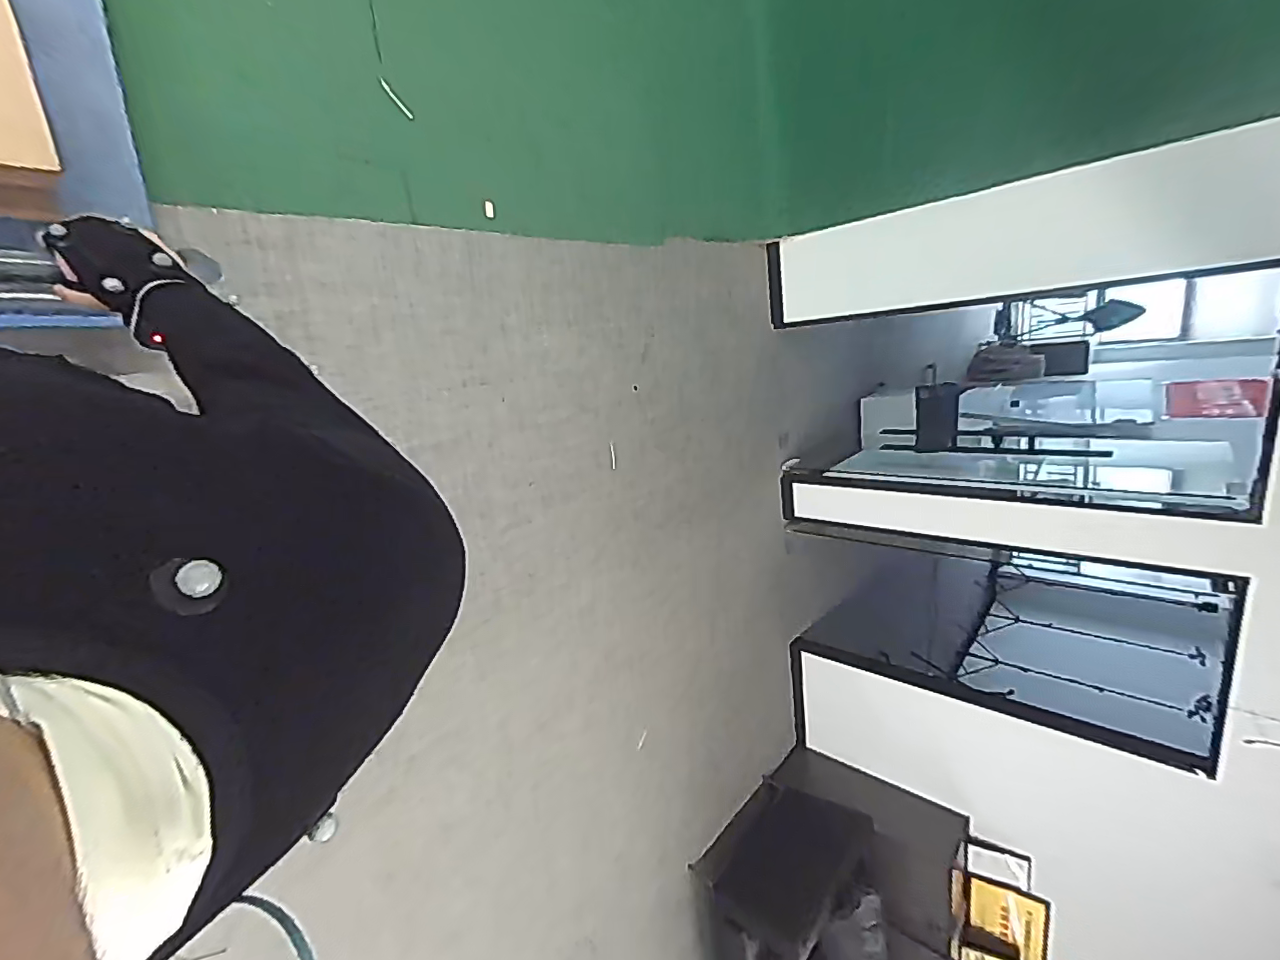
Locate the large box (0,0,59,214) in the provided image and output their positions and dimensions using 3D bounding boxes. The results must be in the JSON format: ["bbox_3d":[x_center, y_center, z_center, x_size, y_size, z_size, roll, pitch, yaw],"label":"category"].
[{"bbox_3d":[-1.097,-0.627,0.750,0.320,0.320,0.408,-20,109,-44],"label":"large box"}]
